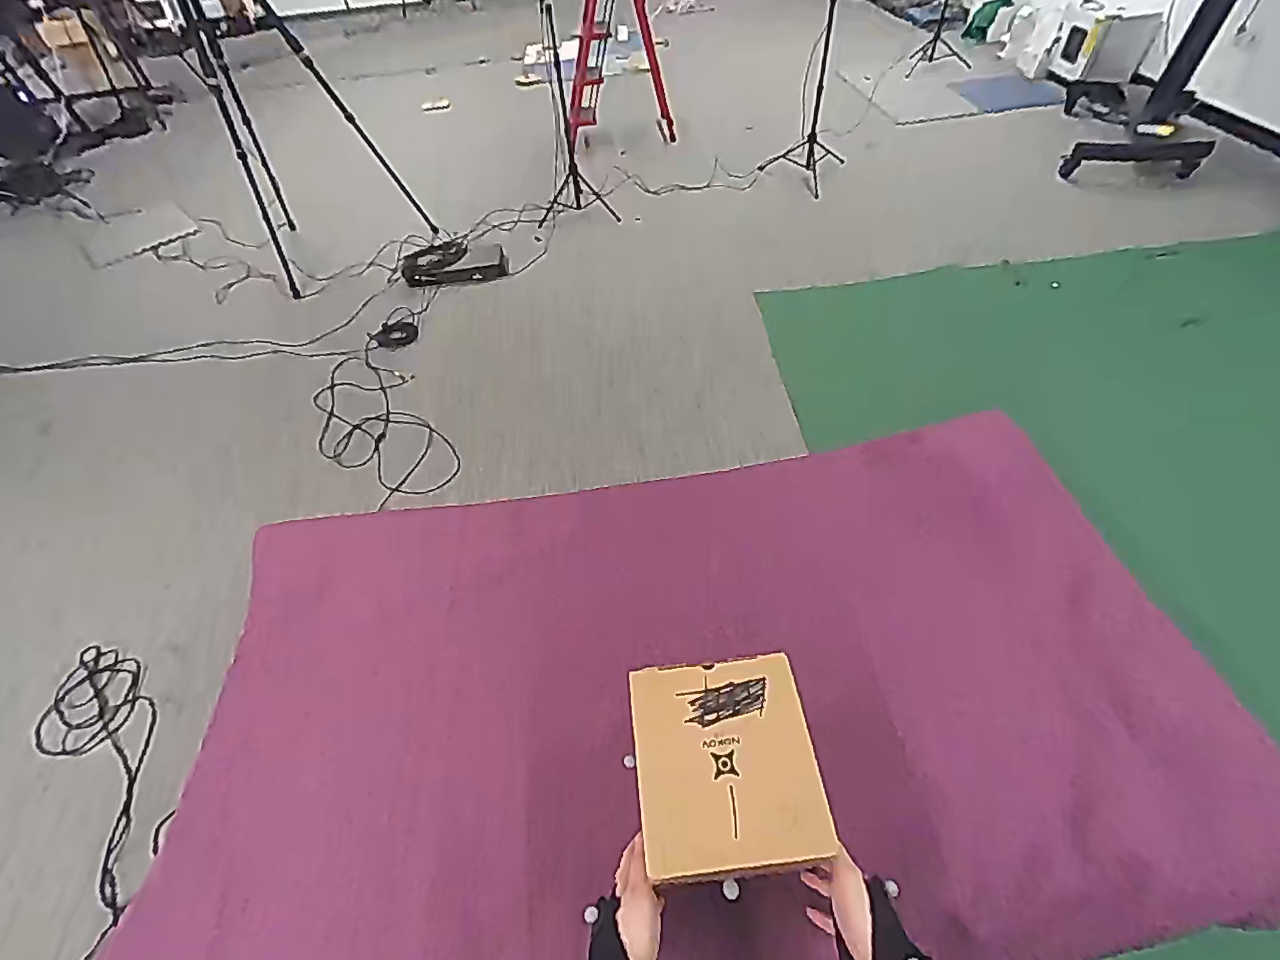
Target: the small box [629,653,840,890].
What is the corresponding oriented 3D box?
[{"bbox_3d":[0.080,0.300,0.553,0.168,0.176,0.179,-7,51,0],"label":"small box"}]
